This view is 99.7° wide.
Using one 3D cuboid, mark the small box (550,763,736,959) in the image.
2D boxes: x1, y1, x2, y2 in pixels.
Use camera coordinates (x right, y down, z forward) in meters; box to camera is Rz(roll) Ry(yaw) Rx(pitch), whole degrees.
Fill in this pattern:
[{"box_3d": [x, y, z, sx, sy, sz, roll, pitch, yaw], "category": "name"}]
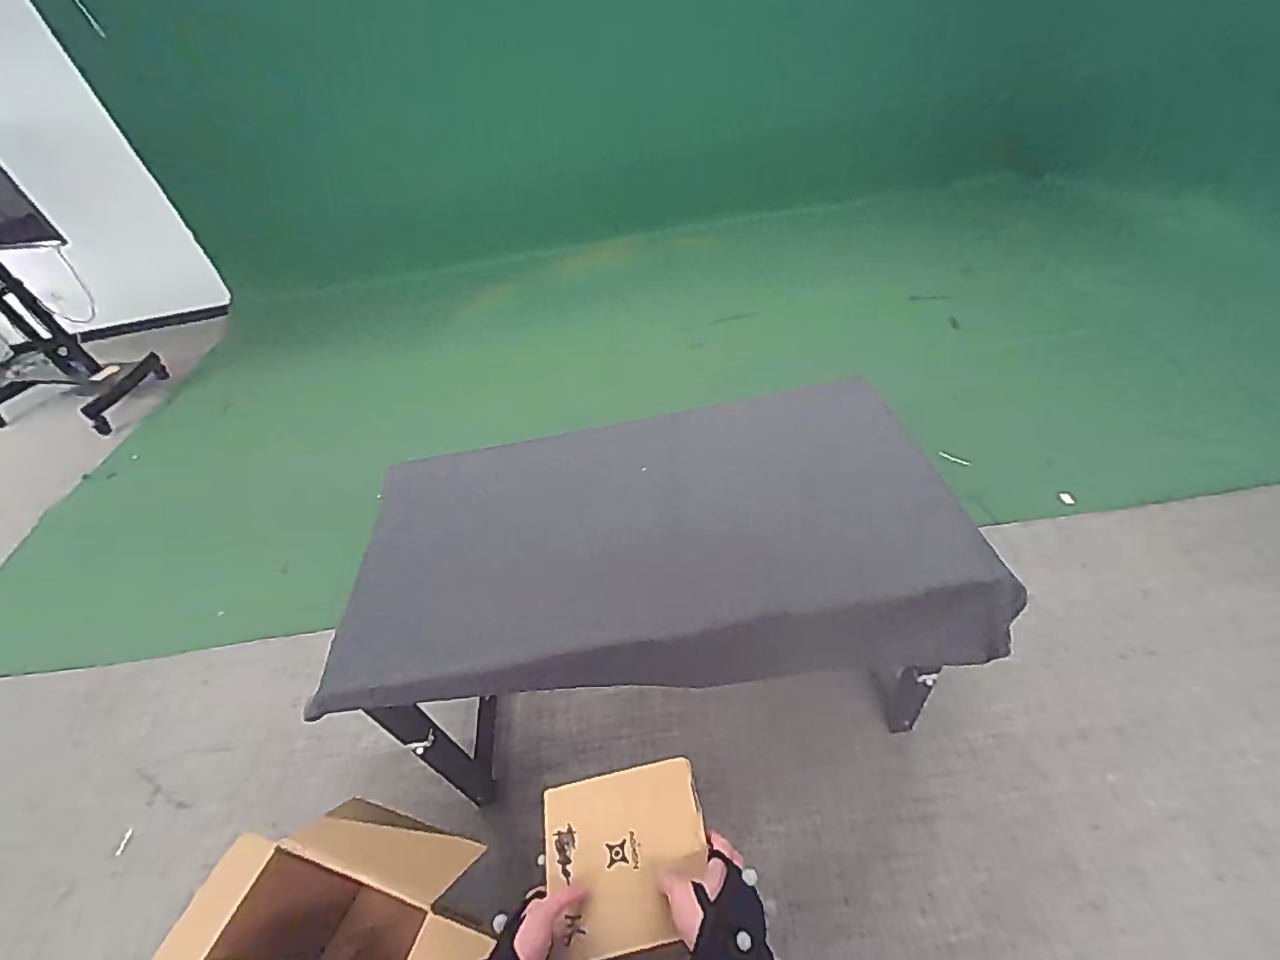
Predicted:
[{"box_3d": [0.003, 0.457, 0.618, 0.179, 0.176, 0.168, -13, 40, -2], "category": "small box"}]
